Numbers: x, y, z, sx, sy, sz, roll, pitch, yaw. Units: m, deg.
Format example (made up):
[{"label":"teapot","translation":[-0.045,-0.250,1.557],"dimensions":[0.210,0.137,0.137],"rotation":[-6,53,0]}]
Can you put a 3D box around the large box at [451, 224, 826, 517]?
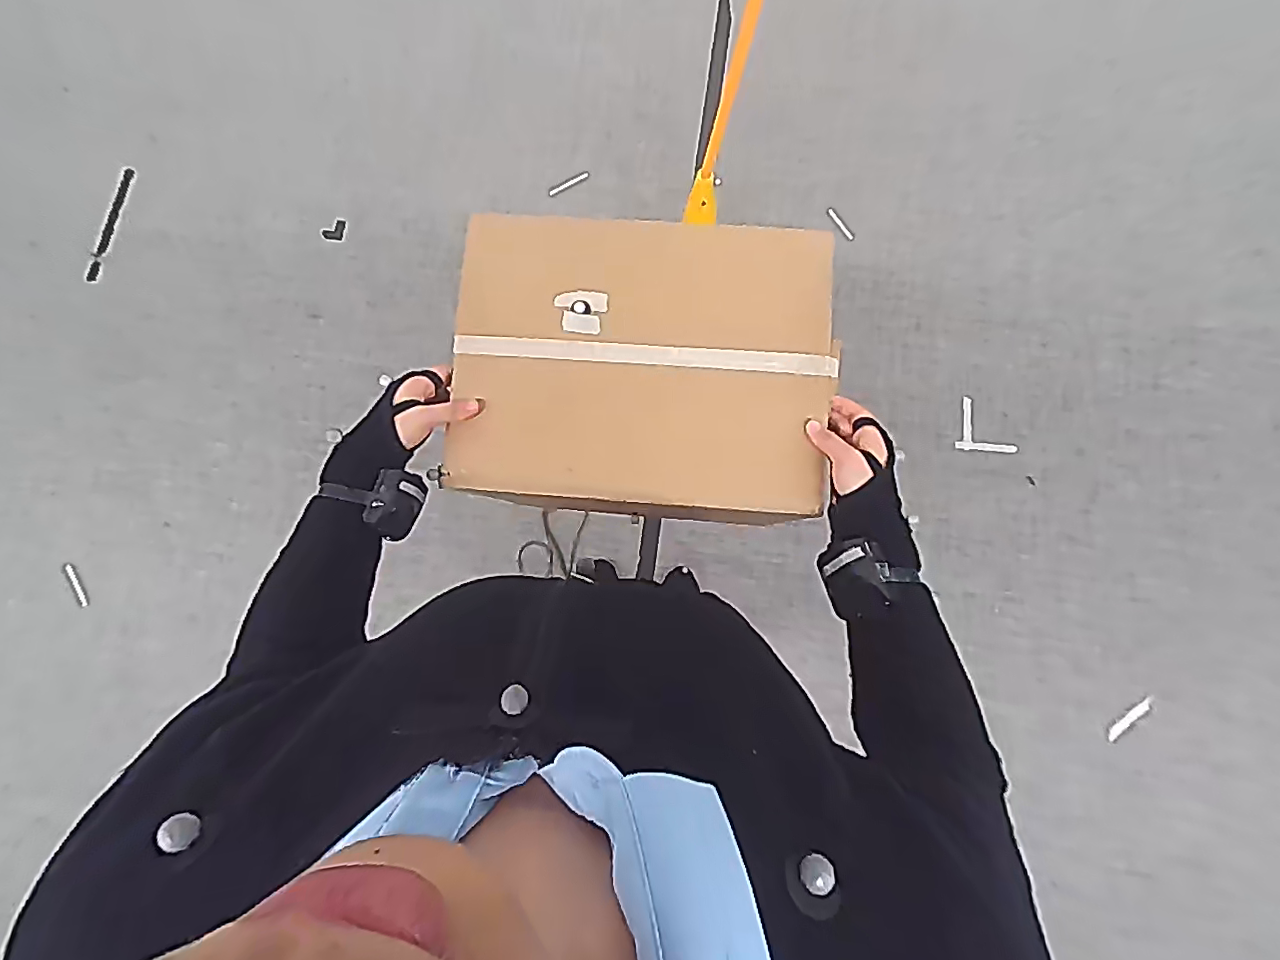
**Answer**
[{"label":"large box","translation":[0.010,-0.117,0.738],"dimensions":[0.408,0.320,0.320],"rotation":[4,82,4]}]
